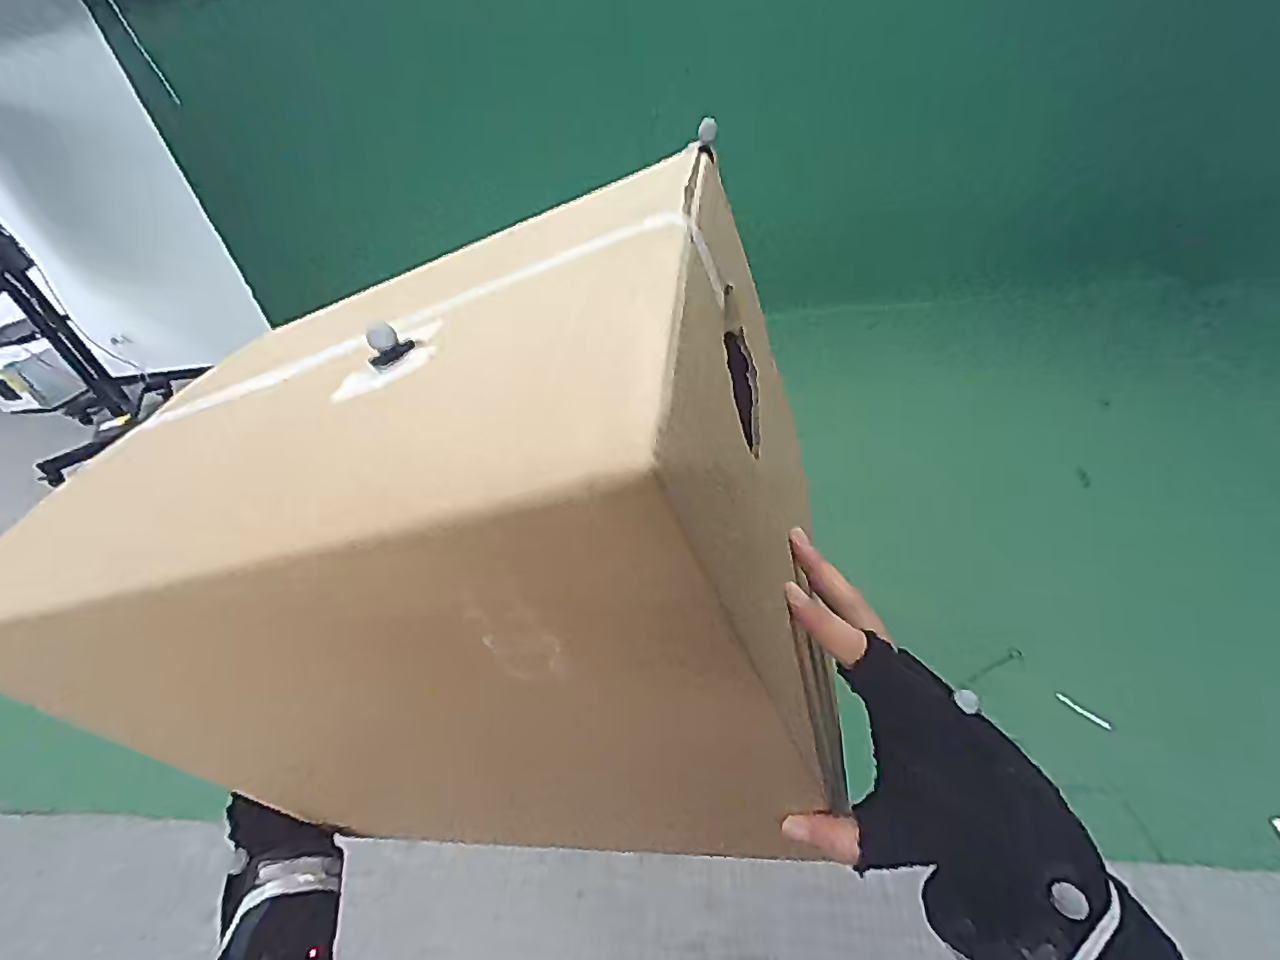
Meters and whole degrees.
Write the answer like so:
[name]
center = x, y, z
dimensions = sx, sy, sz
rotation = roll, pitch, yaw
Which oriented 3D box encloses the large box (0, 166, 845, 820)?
[large box]
center = -0.094, 0.036, 0.409
dimensions = 0.408, 0.320, 0.320
rotation = -12, 41, 20
